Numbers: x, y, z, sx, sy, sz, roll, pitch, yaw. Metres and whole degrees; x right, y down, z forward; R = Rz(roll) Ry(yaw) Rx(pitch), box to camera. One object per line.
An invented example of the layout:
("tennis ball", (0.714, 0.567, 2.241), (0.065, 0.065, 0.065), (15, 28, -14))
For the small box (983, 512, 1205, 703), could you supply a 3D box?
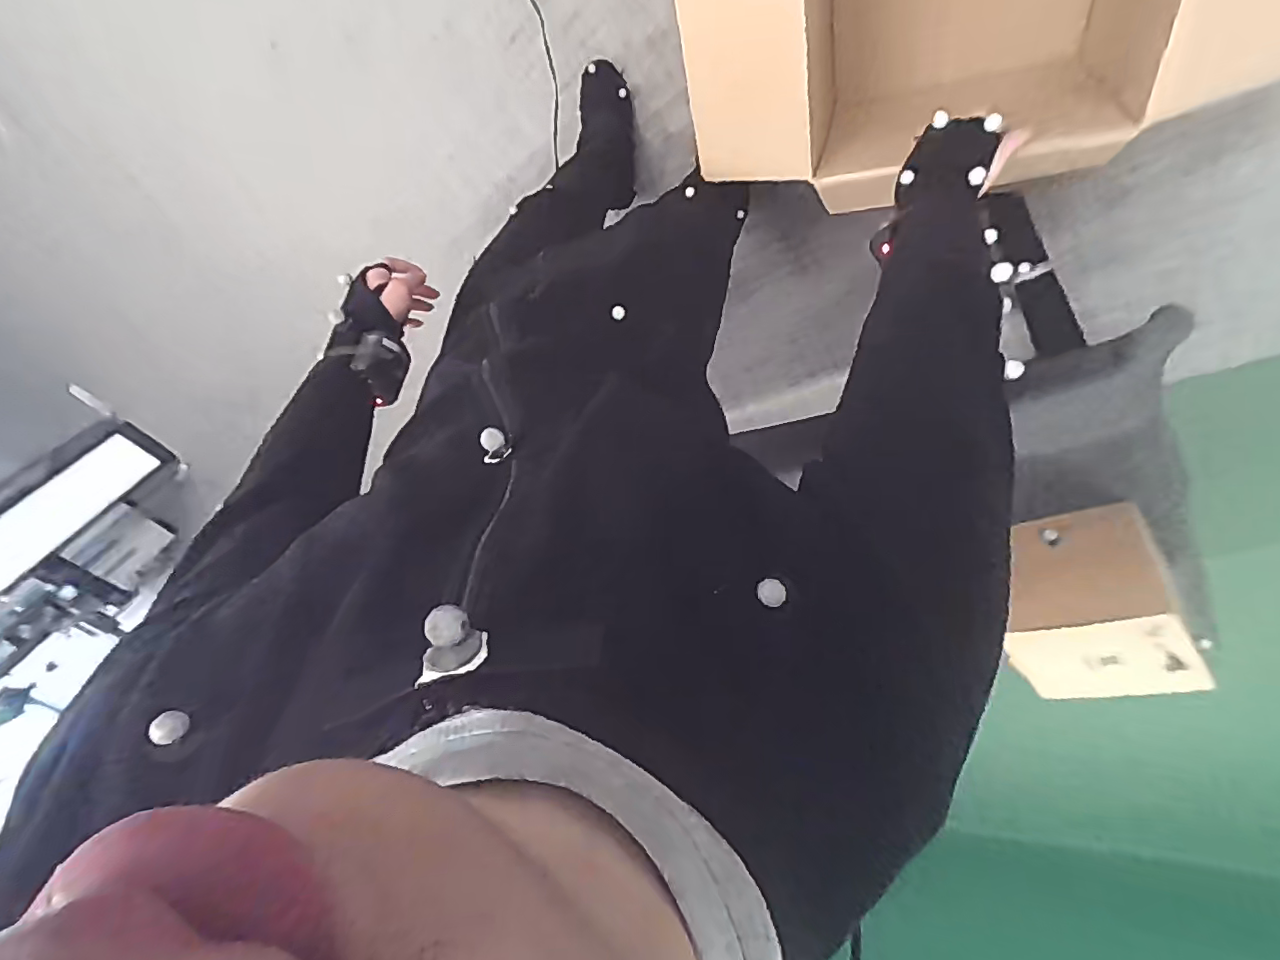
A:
("small box", (0.568, 0.168, 0.700), (0.179, 0.176, 0.168), (-24, 121, 41))
